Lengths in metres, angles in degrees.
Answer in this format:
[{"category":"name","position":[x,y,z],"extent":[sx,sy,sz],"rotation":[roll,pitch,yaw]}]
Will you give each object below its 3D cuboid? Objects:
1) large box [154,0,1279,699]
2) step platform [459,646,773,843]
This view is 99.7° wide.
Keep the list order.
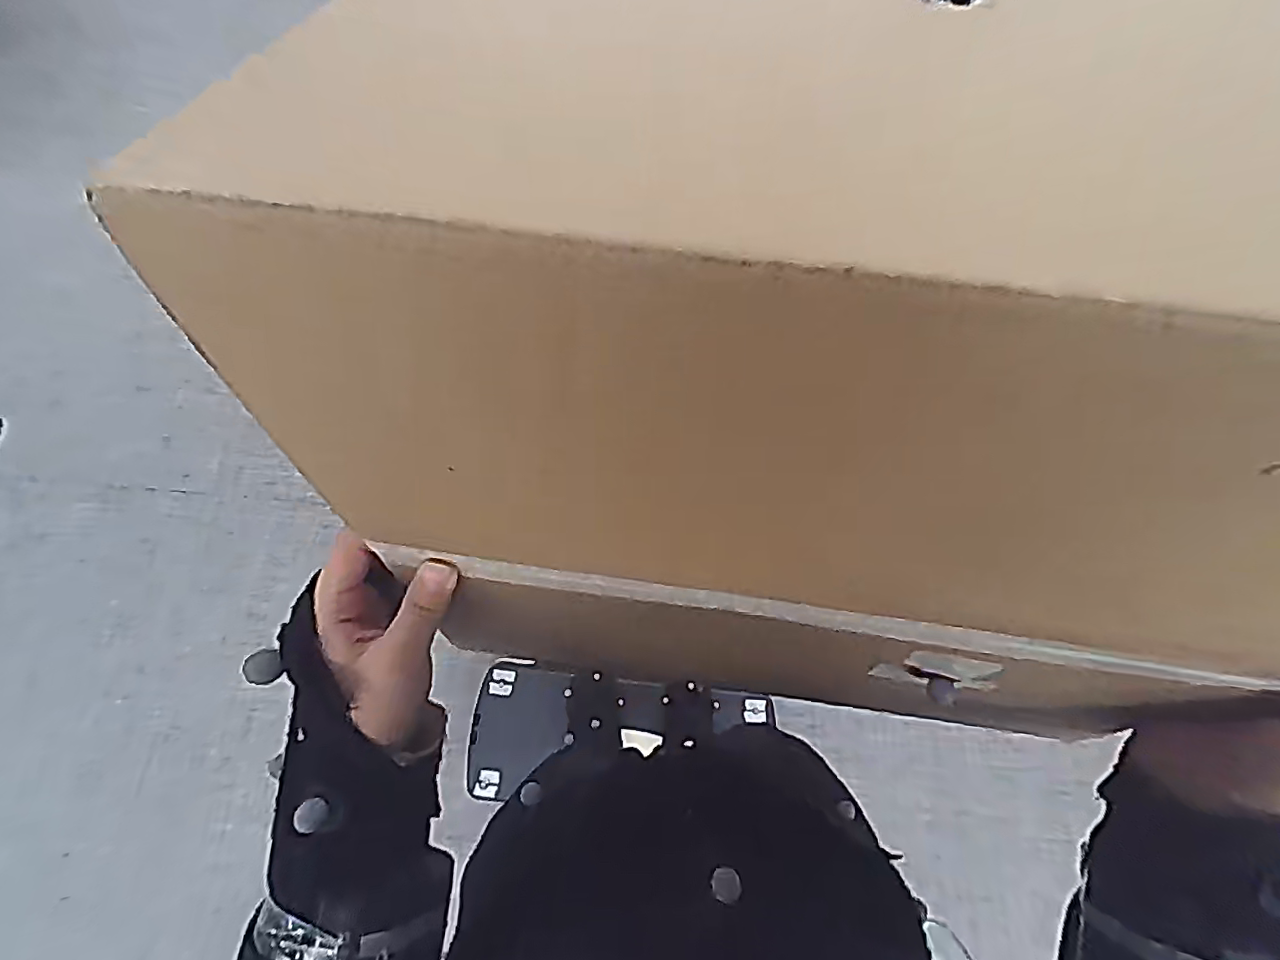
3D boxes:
[{"category":"large box","position":[0.109,-0.096,0.302],"extent":[0.408,0.320,0.320],"rotation":[7,57,2]},{"category":"step platform","position":[-0.048,0.586,1.234],"extent":[0.684,0.204,0.286],"rotation":[11,74,2]}]
